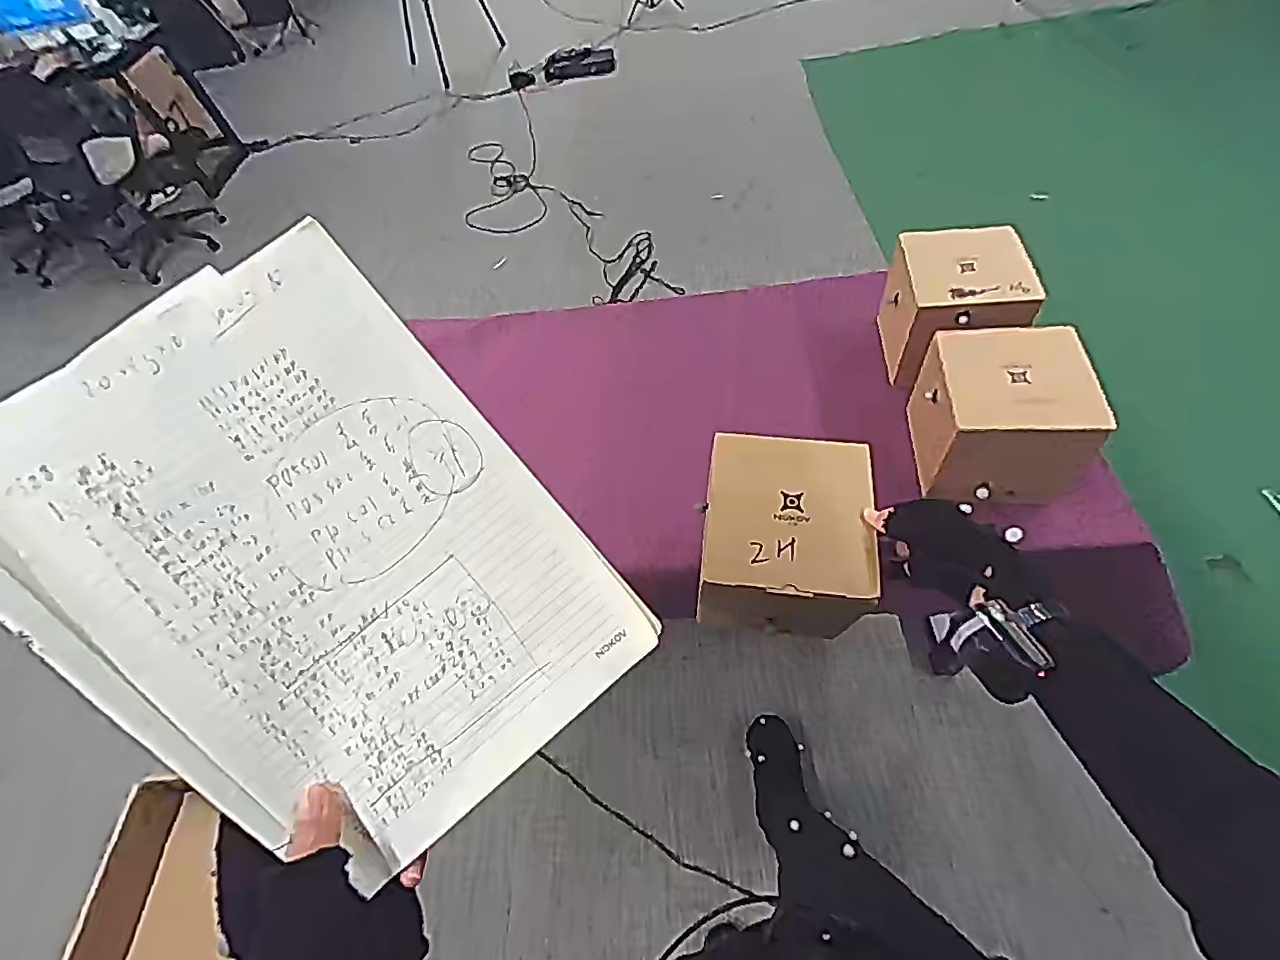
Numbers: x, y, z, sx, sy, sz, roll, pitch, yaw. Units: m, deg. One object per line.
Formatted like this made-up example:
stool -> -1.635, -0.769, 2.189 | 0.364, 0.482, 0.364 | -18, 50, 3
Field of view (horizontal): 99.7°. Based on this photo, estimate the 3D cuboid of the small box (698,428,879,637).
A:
small box -> 0.158, 0.065, 0.618 | 0.168, 0.176, 0.179 | 6, 63, 7

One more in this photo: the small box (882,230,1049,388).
small box -> 0.494, -0.265, 0.854 | 0.168, 0.176, 0.179 | 0, 56, 11

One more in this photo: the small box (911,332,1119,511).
small box -> 0.481, -0.078, 0.731 | 0.168, 0.176, 0.179 | 2, 57, 13
